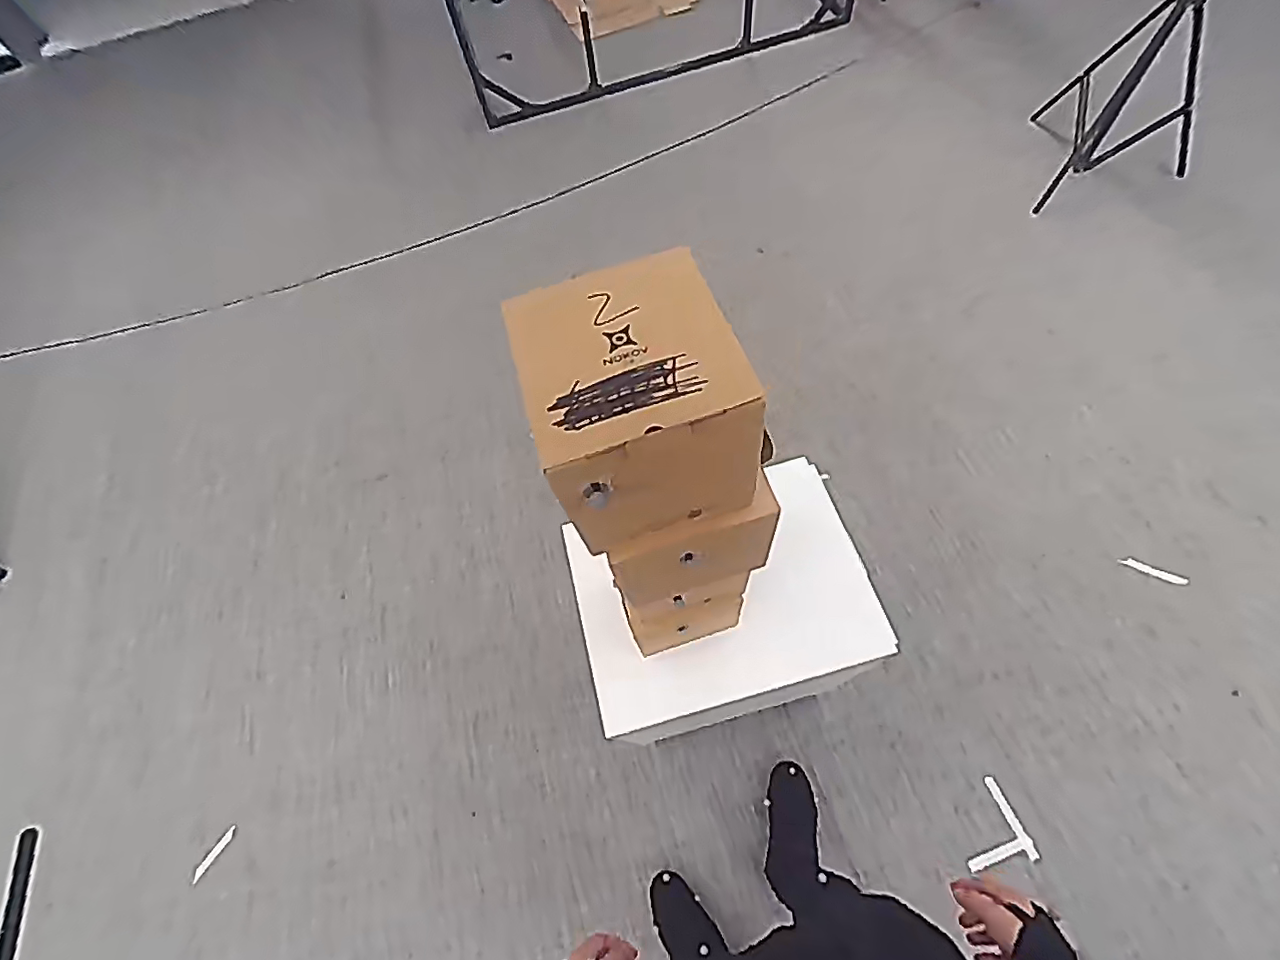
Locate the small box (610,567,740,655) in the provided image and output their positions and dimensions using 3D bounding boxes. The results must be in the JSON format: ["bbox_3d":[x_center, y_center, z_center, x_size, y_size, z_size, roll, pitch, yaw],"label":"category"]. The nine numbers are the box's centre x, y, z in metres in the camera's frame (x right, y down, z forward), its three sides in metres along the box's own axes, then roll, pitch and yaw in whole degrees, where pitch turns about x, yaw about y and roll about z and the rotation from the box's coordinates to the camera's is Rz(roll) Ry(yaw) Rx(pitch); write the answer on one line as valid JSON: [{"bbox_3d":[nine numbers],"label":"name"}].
[{"bbox_3d":[0.055,0.181,0.913,0.179,0.176,0.168,-18,62,-4],"label":"small box"}]

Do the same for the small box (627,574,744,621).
[{"bbox_3d":[0.047,0.091,0.777,0.168,0.176,0.179,-17,61,-3],"label":"small box"}]

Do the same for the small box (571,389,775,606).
[{"bbox_3d":[0.037,0.029,0.624,0.179,0.176,0.168,-17,62,-3],"label":"small box"}]
